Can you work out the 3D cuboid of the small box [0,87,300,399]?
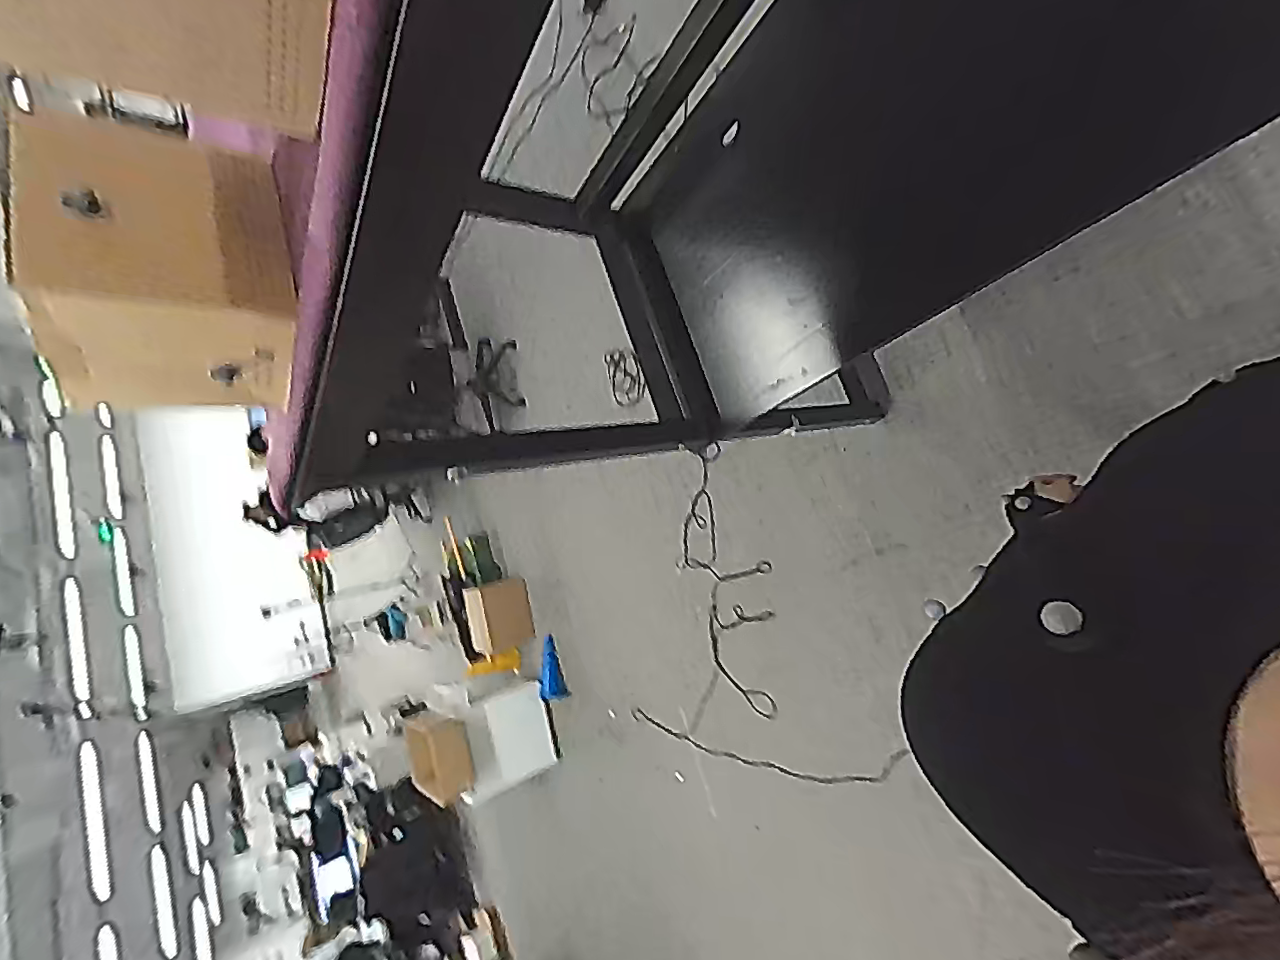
[{"bbox_3d":[-0.417,-0.183,0.477,0.168,0.176,0.179,-37,68,47],"label":"small box"}]
